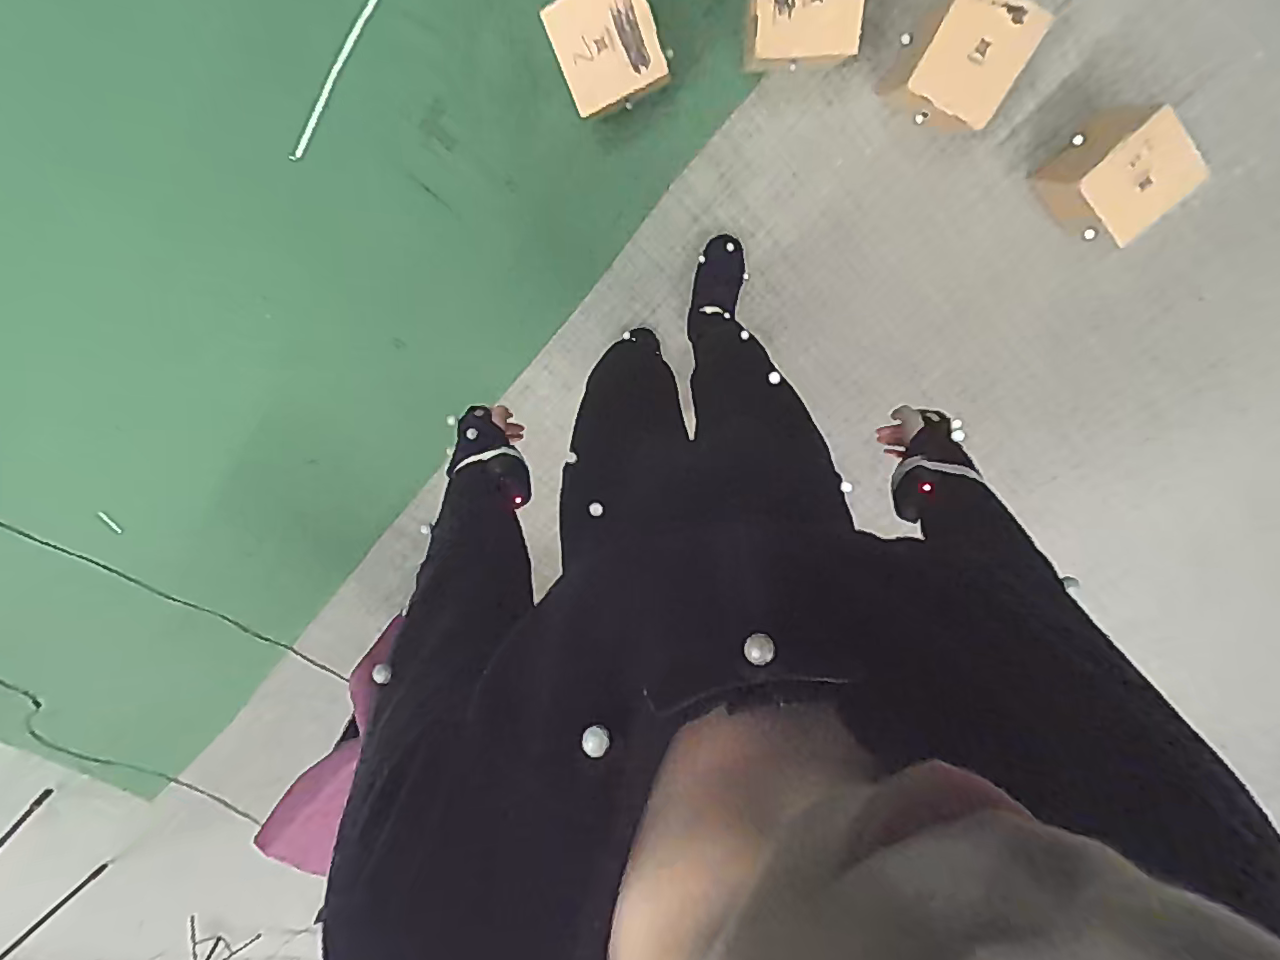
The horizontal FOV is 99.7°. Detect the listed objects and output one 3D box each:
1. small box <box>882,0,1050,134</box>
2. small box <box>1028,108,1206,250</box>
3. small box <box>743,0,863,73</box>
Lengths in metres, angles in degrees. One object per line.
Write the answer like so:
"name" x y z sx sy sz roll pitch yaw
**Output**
"small box" 0.569 -0.757 0.979 0.168 0.176 0.179 23 120 -10
"small box" 0.921 -0.589 1.060 0.179 0.176 0.168 37 116 -18
"small box" 0.280 -0.831 0.950 0.179 0.176 0.168 -1 121 2
